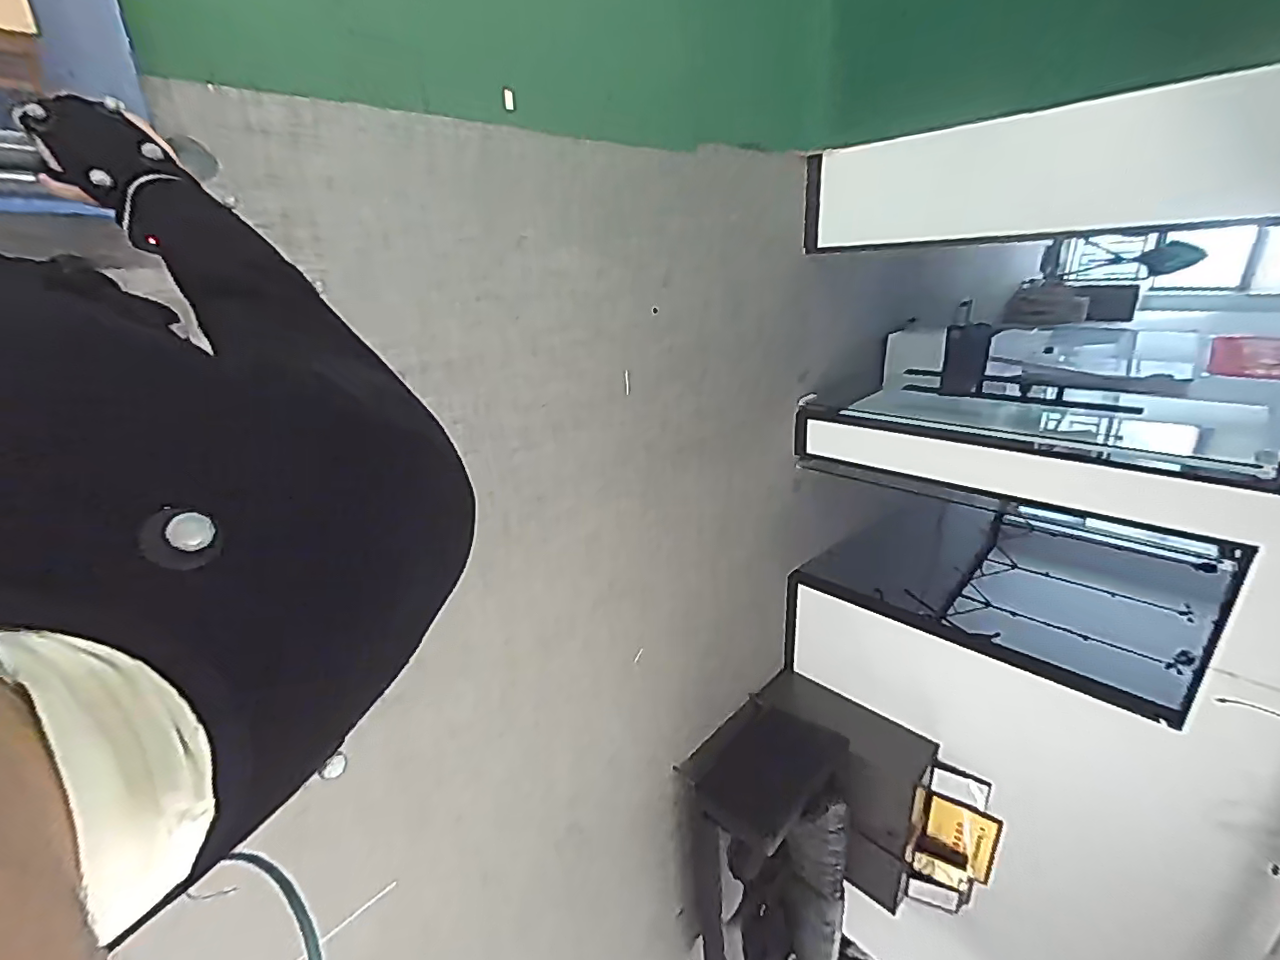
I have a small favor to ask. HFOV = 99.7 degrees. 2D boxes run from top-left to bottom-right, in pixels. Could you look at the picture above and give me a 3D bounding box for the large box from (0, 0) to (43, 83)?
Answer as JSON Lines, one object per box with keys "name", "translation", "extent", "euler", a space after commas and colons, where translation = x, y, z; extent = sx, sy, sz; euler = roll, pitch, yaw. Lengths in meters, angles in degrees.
{"name": "large box", "translation": [-1.032, -0.772, 0.651], "extent": [0.320, 0.320, 0.408], "euler": [-23, 119, -40]}
